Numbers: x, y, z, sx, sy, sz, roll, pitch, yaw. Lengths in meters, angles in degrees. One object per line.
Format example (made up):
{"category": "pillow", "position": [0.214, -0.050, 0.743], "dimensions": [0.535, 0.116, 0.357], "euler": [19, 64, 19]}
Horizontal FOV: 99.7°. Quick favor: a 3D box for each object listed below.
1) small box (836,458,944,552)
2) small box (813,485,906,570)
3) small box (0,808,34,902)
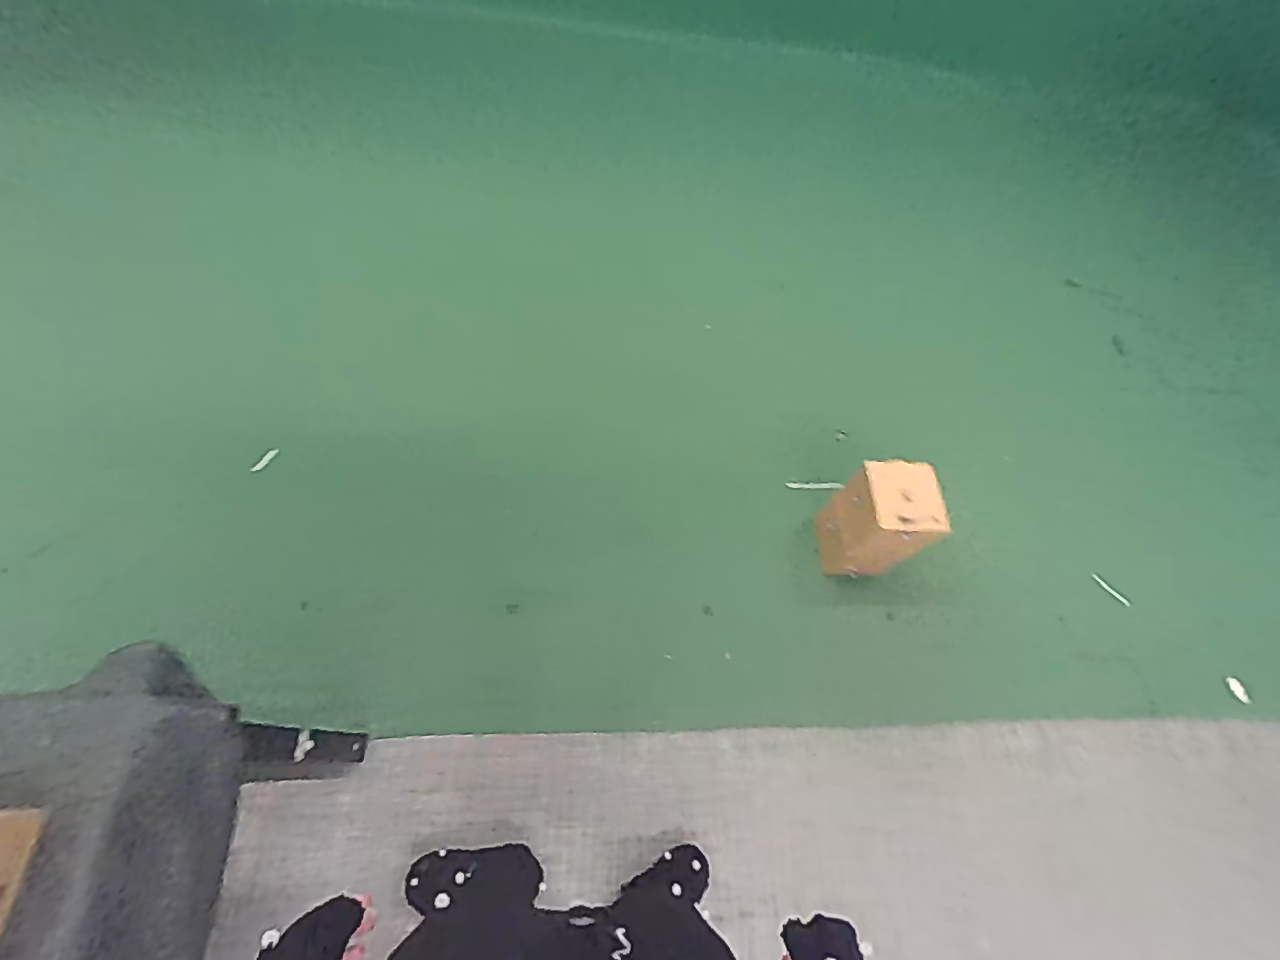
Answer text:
{"category": "small box", "position": [0.598, 0.064, 1.324], "dimensions": [0.168, 0.176, 0.179], "euler": [2, 62, -5]}
{"category": "small box", "position": [0.579, 0.130, 1.451], "dimensions": [0.168, 0.176, 0.179], "euler": [2, 63, -4]}
{"category": "small box", "position": [-0.631, 0.343, 0.391], "dimensions": [0.179, 0.176, 0.168], "euler": [1, 64, -5]}
